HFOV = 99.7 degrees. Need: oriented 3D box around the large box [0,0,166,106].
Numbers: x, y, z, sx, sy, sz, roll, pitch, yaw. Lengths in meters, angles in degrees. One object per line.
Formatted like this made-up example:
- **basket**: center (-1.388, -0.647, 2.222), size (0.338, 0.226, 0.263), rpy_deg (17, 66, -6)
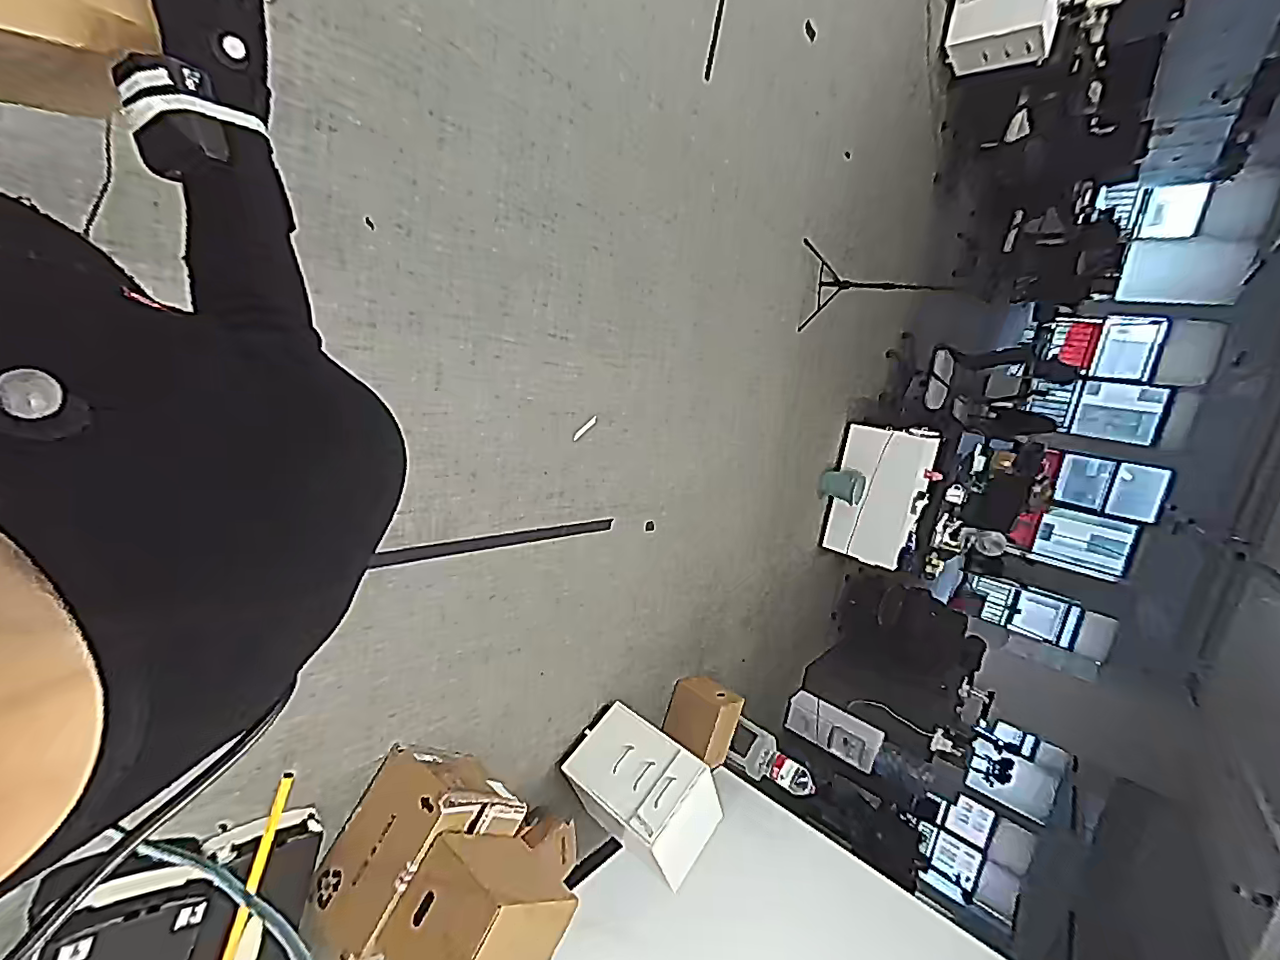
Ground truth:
- **large box**: center (-0.581, -0.447, 0.287), size (0.408, 0.320, 0.320), rpy_deg (-20, 122, -47)
